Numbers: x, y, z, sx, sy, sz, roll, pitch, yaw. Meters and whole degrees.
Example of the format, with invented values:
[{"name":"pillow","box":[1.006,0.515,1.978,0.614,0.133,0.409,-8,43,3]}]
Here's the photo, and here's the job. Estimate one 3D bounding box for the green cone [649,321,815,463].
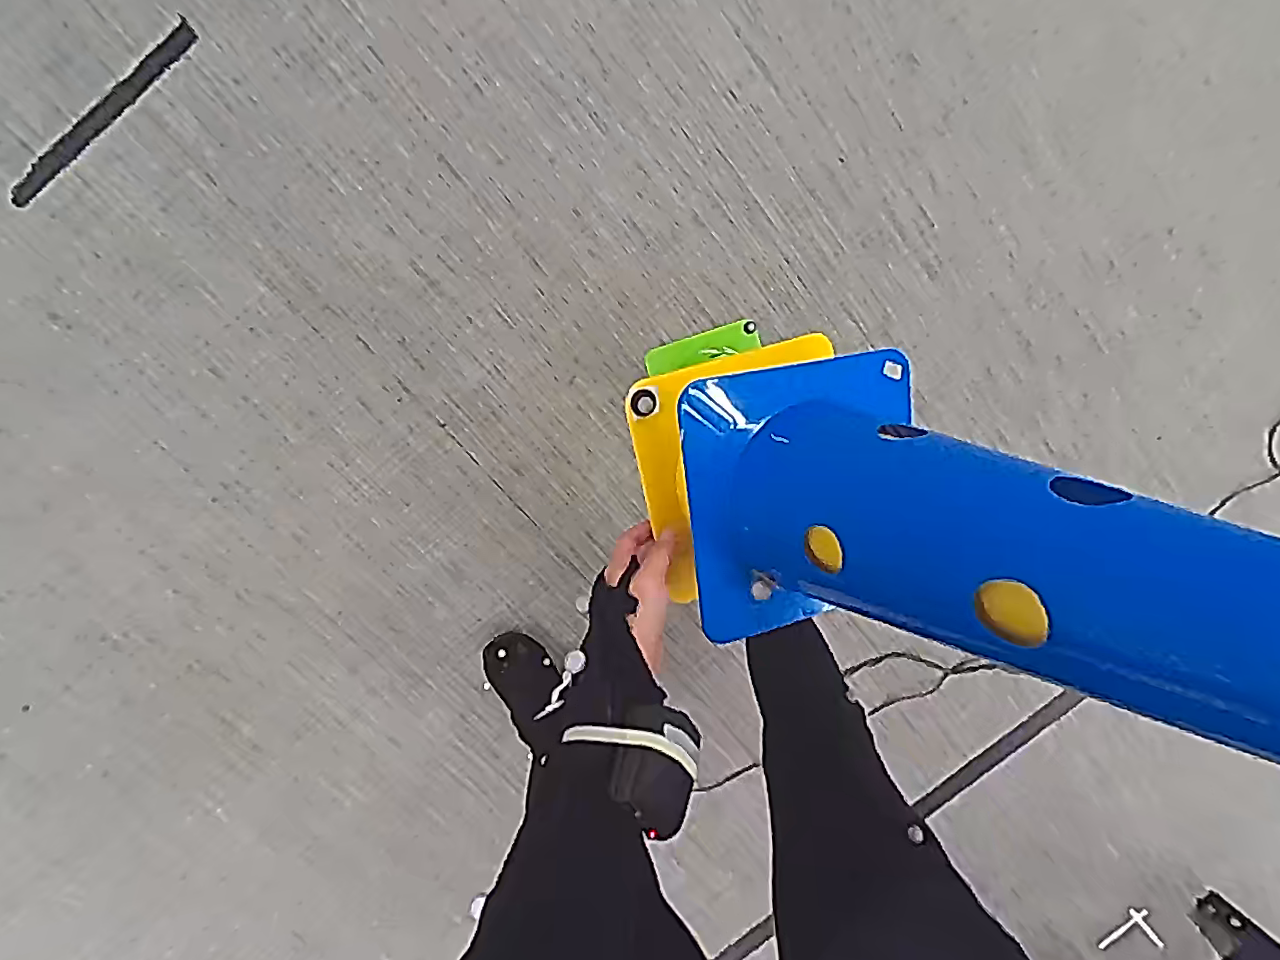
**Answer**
[{"name":"green cone","box":[0.147,-0.117,0.754,0.200,0.368,0.202,-19,102,-2]}]
